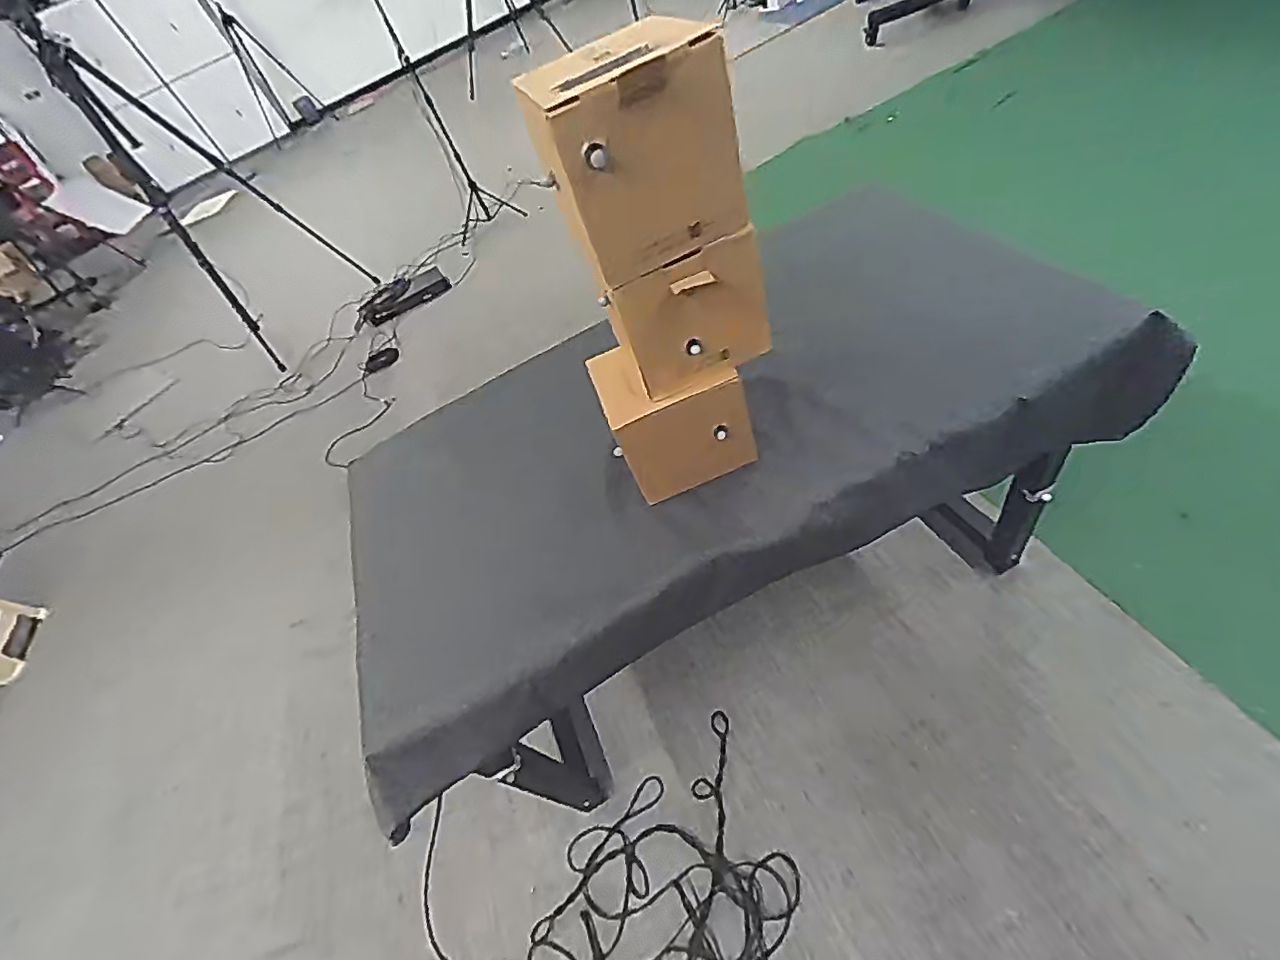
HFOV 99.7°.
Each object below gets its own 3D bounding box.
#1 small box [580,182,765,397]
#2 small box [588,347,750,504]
[{"bbox_3d":[0.042,-0.237,0.681,0.168,0.176,0.179,-24,47,0],"label":"small box"},{"bbox_3d":[0.048,-0.097,0.782,0.179,0.176,0.168,-24,47,3],"label":"small box"}]
